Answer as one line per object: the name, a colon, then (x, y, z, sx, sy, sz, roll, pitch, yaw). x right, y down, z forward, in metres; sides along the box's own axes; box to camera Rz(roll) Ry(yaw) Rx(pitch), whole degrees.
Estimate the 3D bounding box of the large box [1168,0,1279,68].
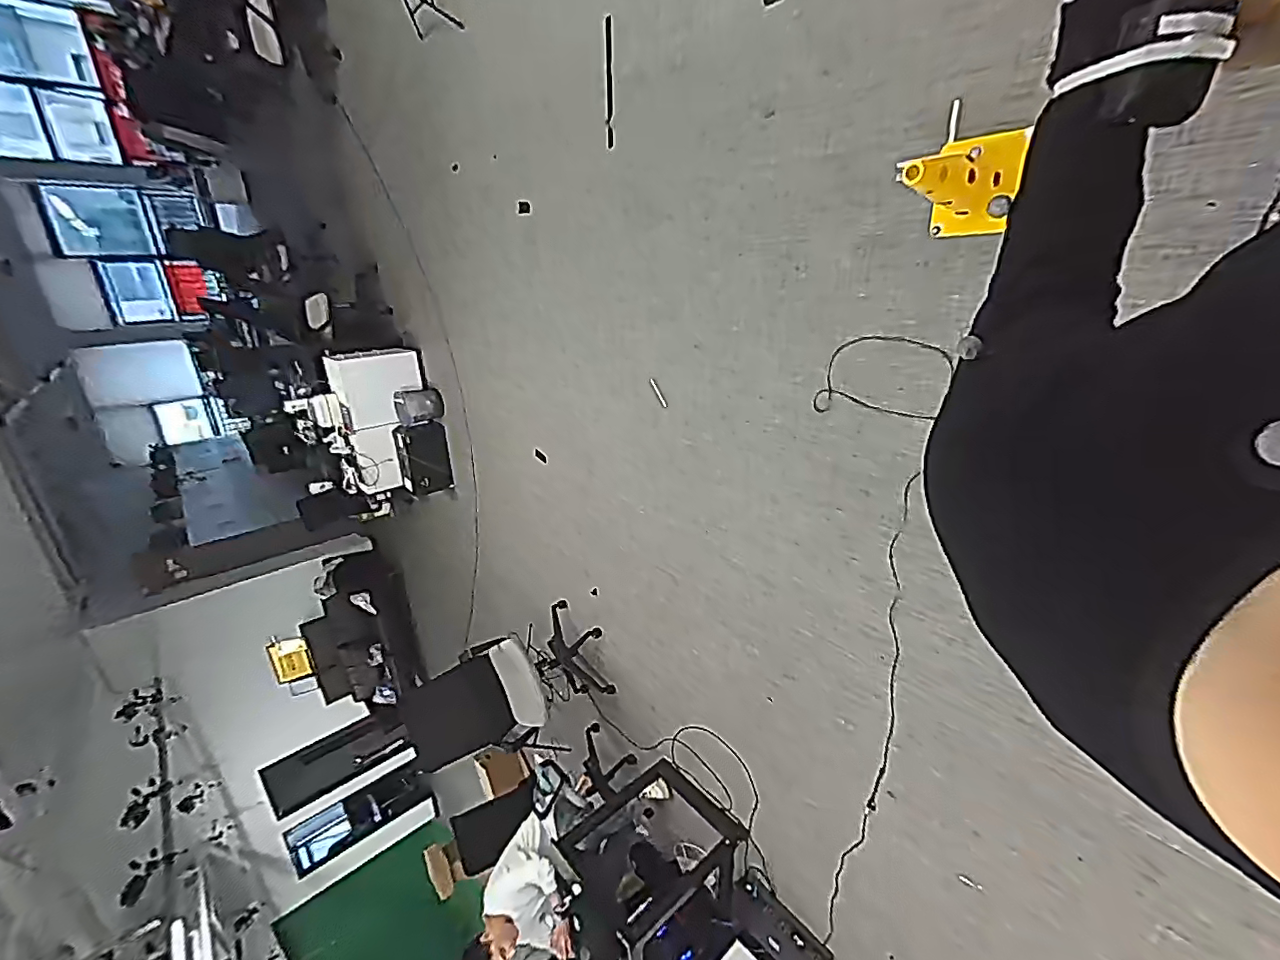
large box: (0.568, -0.440, 0.243, 0.408, 0.320, 0.320, 20, 127, 44)
